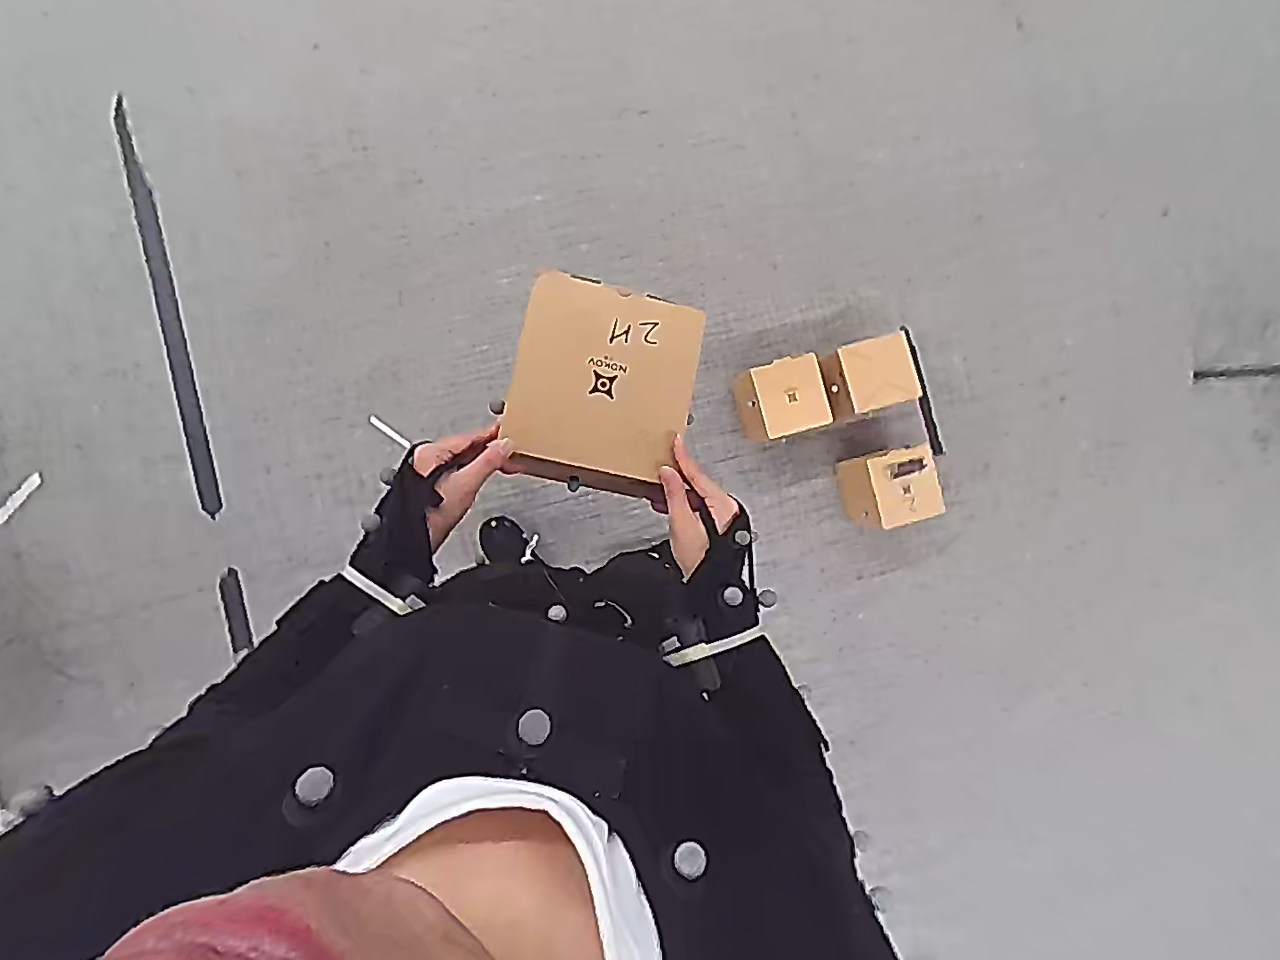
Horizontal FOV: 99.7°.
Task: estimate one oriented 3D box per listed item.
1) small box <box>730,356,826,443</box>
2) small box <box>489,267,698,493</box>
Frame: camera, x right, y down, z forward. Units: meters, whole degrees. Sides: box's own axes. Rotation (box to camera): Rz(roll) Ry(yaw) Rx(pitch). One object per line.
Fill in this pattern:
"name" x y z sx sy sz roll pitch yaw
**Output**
"small box" 0.343 -0.195 1.369 0.168 0.176 0.179 -15 89 -6
"small box" -0.052 -0.087 0.574 0.168 0.176 0.179 12 82 -10
